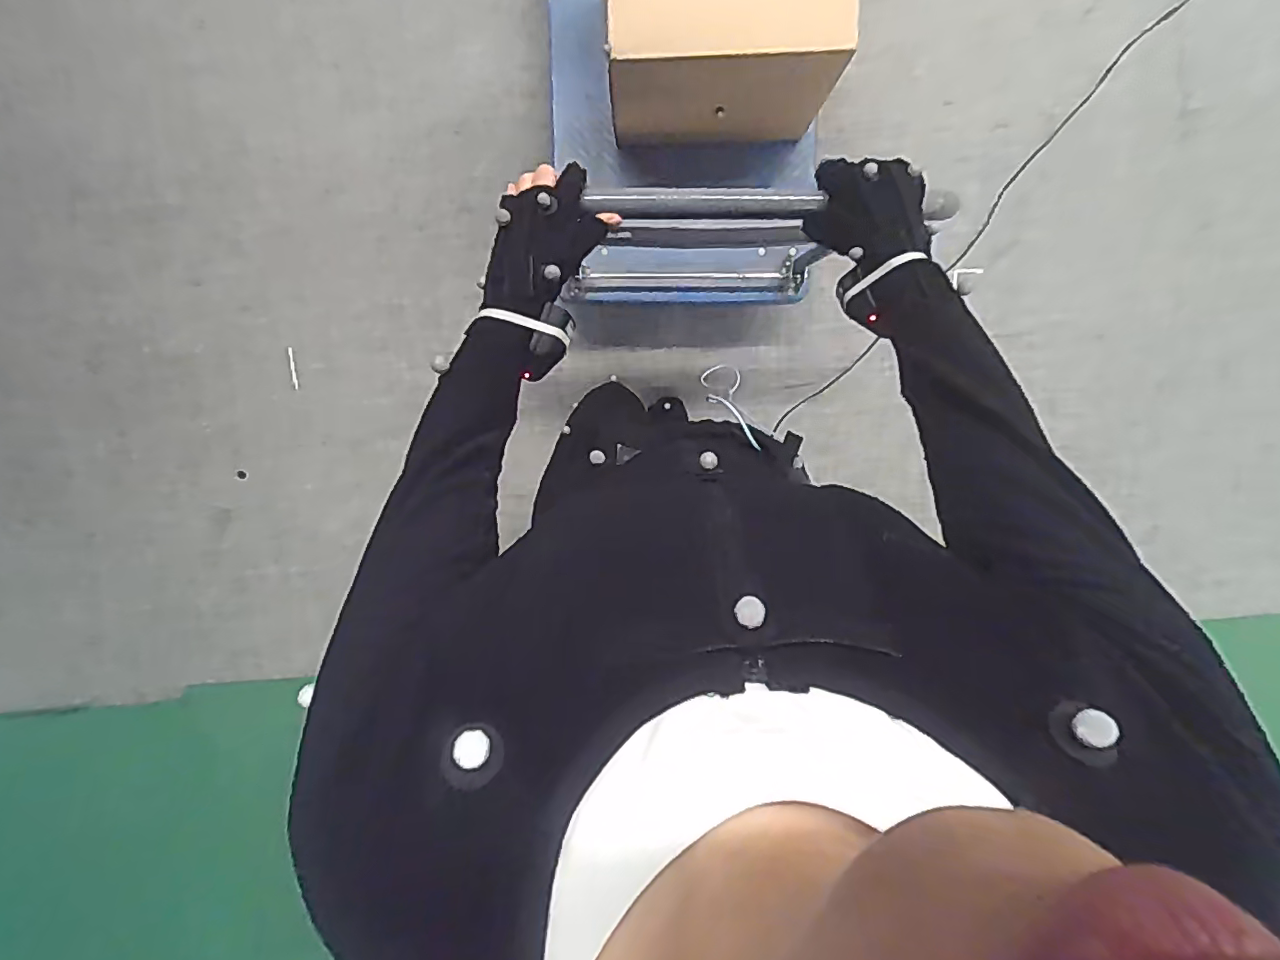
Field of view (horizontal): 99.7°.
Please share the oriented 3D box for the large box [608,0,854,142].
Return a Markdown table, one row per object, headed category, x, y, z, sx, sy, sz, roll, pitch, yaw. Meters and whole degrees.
| category | x | y | z | sx | sy | sz | roll | pitch | yaw |
| --- | --- | --- | --- | --- | --- | --- | --- | --- | --- |
| large box | 0.147 | -0.875 | 1.010 | 0.408 | 0.320 | 0.320 | -3 | 99 | 2 |
